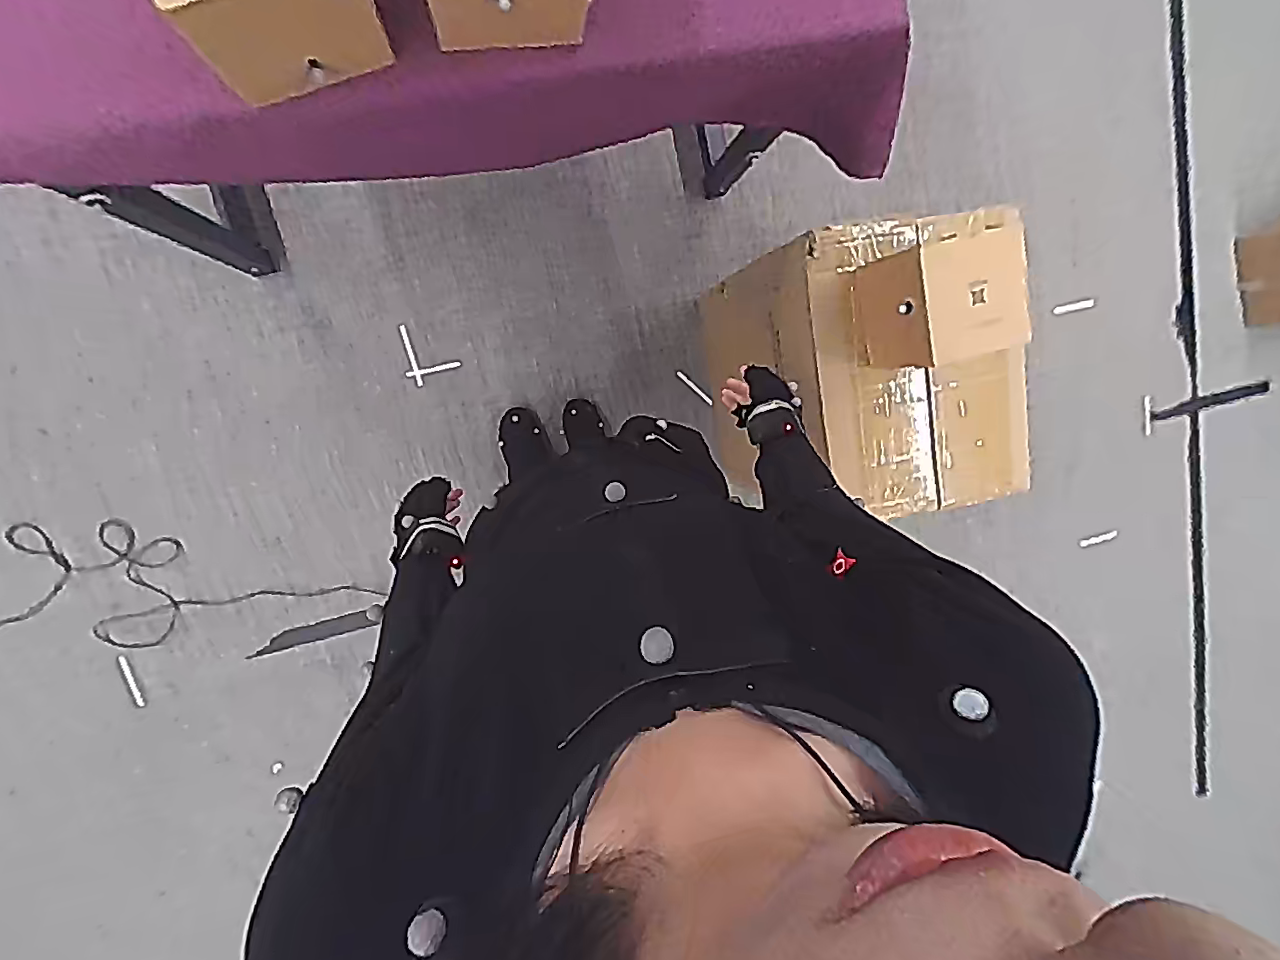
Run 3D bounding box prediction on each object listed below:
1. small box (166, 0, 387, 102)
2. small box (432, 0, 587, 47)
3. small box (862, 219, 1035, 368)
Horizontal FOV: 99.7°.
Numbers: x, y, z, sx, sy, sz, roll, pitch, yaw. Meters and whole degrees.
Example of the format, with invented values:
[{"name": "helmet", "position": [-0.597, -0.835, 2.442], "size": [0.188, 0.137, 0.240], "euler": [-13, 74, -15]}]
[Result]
[{"name": "small box", "position": [-0.379, -0.529, 0.543], "size": [0.179, 0.176, 0.168], "euler": [-25, 101, -8]}, {"name": "small box", "position": [-0.148, -0.604, 0.576], "size": [0.179, 0.176, 0.168], "euler": [-10, 99, -9]}, {"name": "small box", "position": [0.474, -0.282, 0.851], "size": [0.168, 0.176, 0.179], "euler": [-16, 102, -6]}]
